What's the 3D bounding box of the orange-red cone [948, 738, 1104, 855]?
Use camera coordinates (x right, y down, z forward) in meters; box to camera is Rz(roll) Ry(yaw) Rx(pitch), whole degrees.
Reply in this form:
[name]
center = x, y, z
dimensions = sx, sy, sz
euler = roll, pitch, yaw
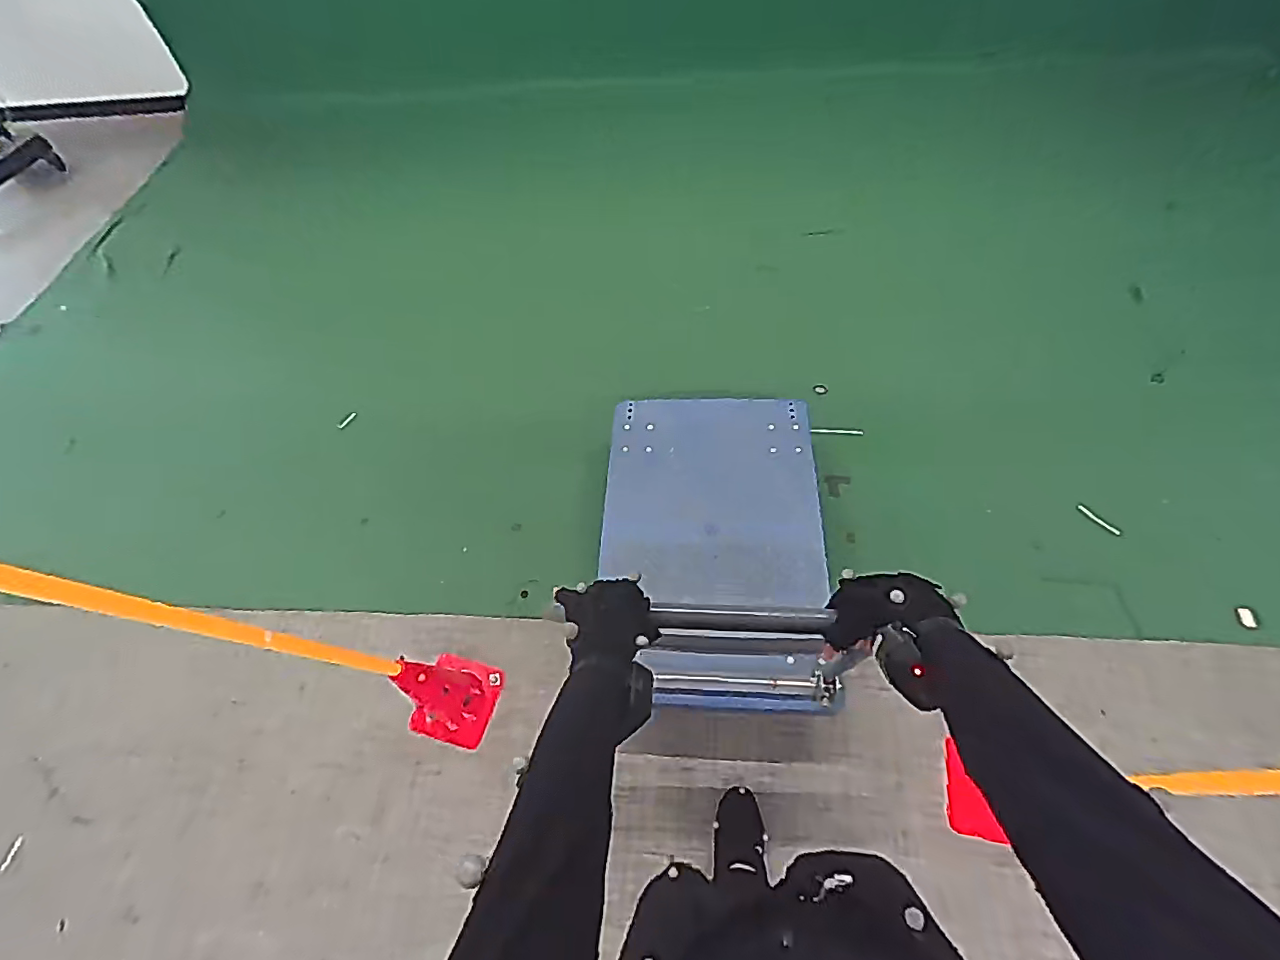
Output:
[orange-red cone]
center = 0.783, 0.615, 1.067
dimensions = 0.198, 0.360, 0.199
euler = 11, 61, 12
